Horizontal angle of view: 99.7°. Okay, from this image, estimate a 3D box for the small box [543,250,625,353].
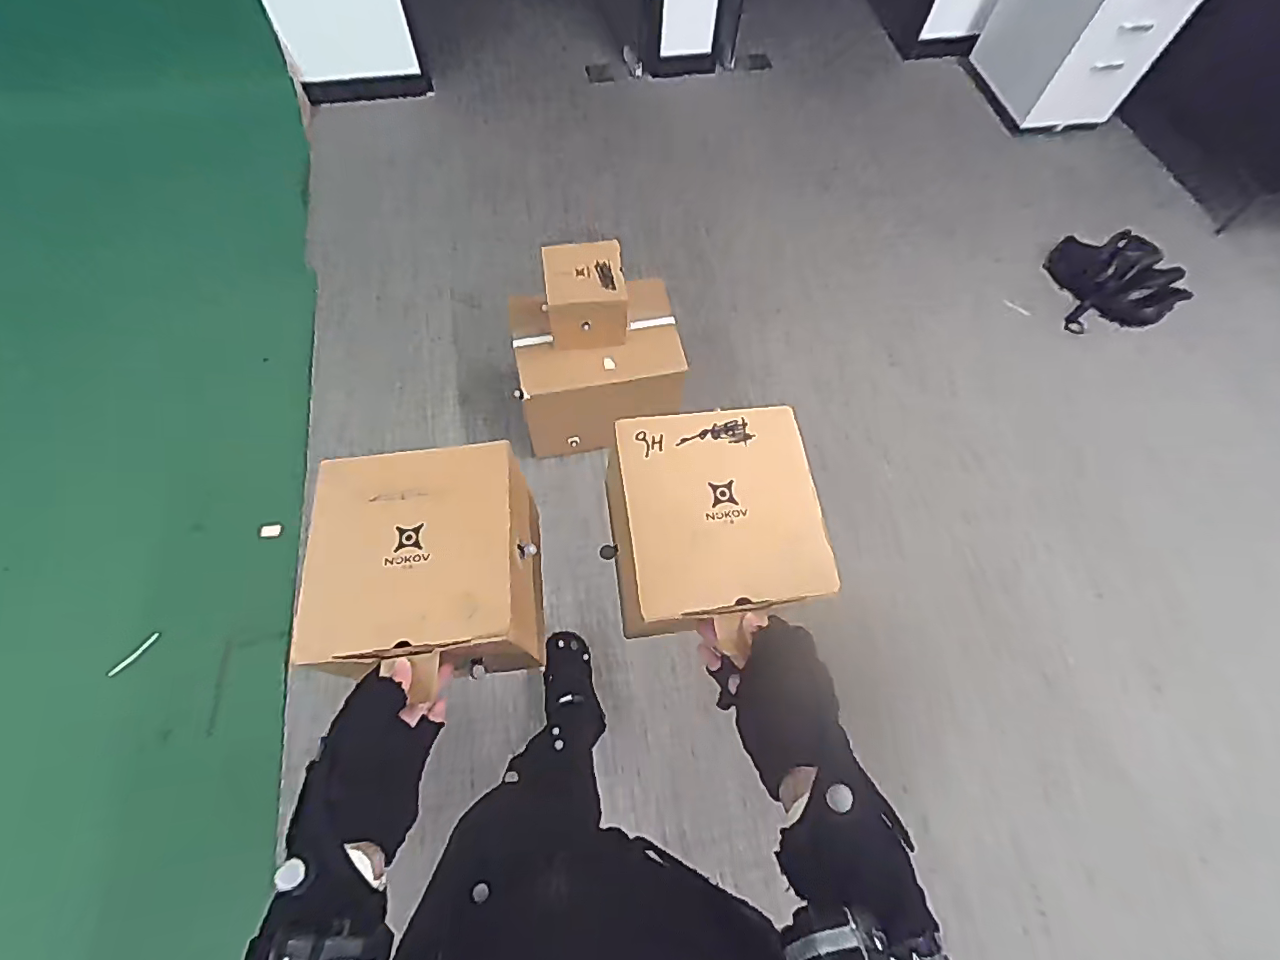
[{"bbox_3d":[-0.132,-0.414,1.266,0.179,0.176,0.168,-4,68,-6],"label":"small box"}]
